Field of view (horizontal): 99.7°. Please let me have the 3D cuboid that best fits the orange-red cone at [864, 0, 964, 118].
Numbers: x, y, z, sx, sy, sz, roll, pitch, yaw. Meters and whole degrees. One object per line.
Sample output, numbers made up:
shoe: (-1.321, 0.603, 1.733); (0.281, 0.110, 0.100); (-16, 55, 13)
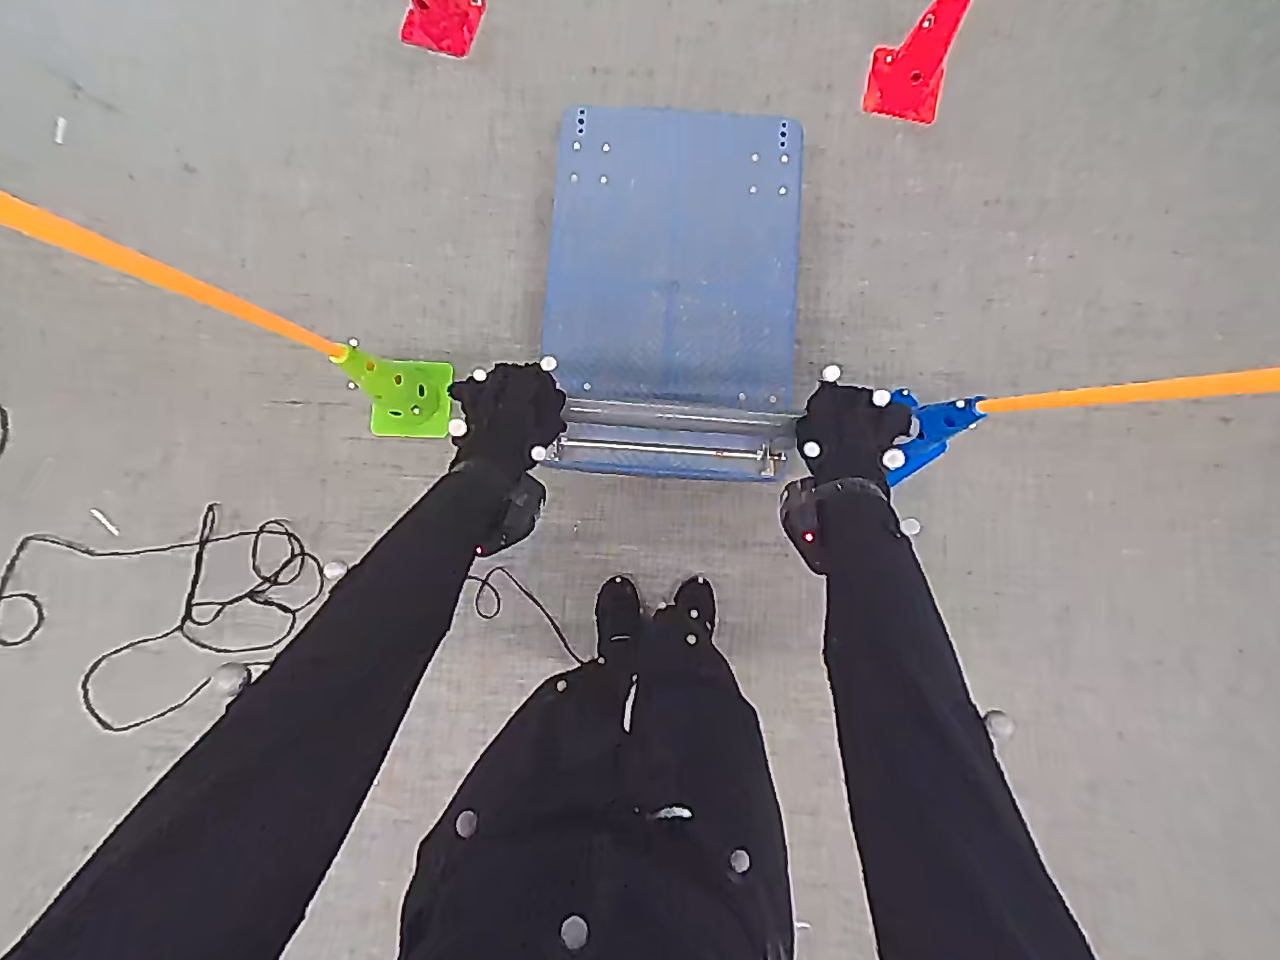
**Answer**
orange-red cone: (0.716, -1.102, 1.298); (0.198, 0.360, 0.199); (14, 86, 3)
